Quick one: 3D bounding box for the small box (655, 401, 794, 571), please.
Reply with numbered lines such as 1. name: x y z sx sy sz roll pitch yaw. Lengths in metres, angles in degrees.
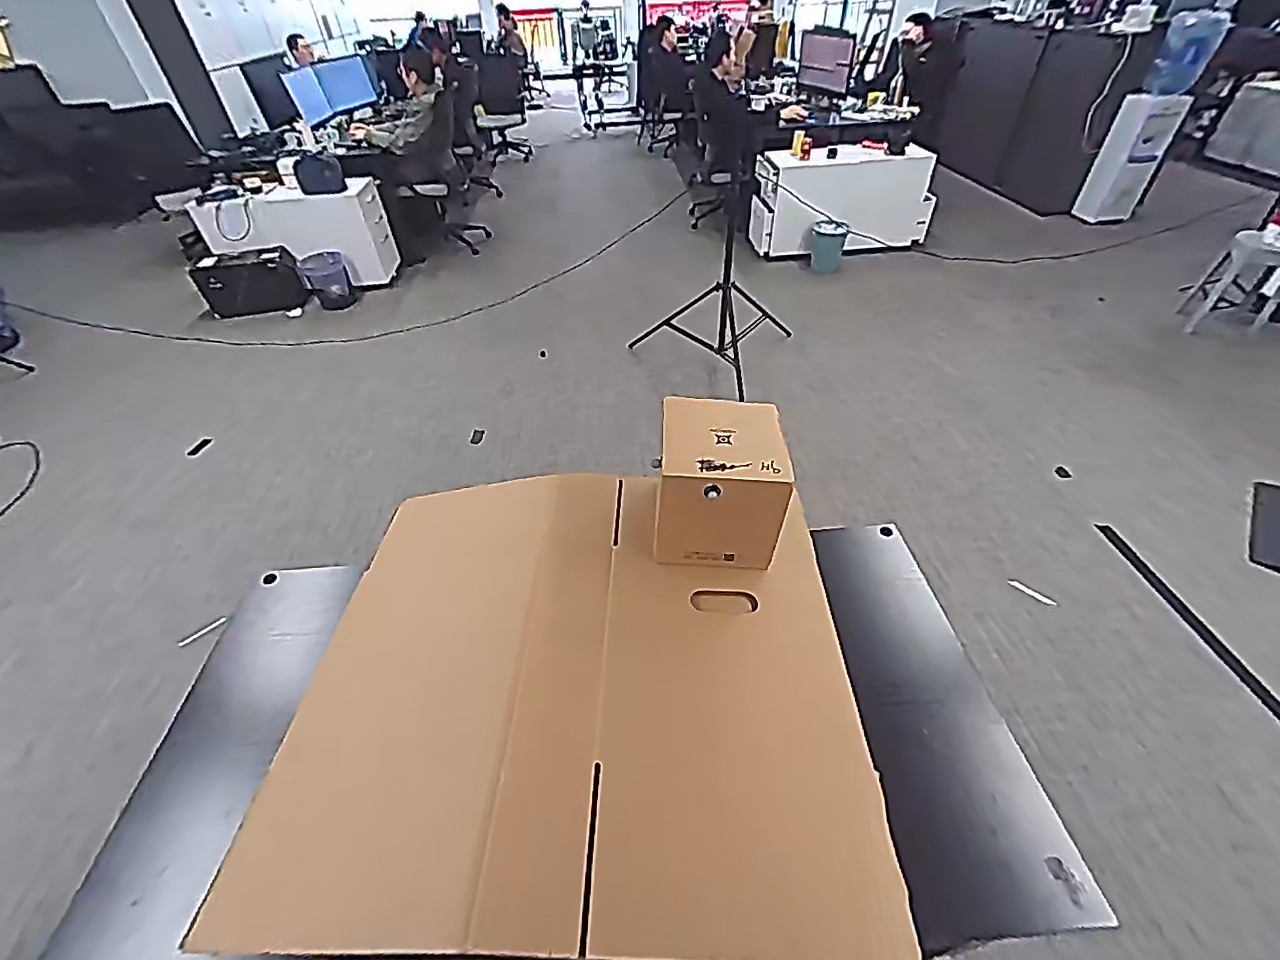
1. small box: 0.109 0.007 0.777 0.168 0.176 0.179 3 41 1
